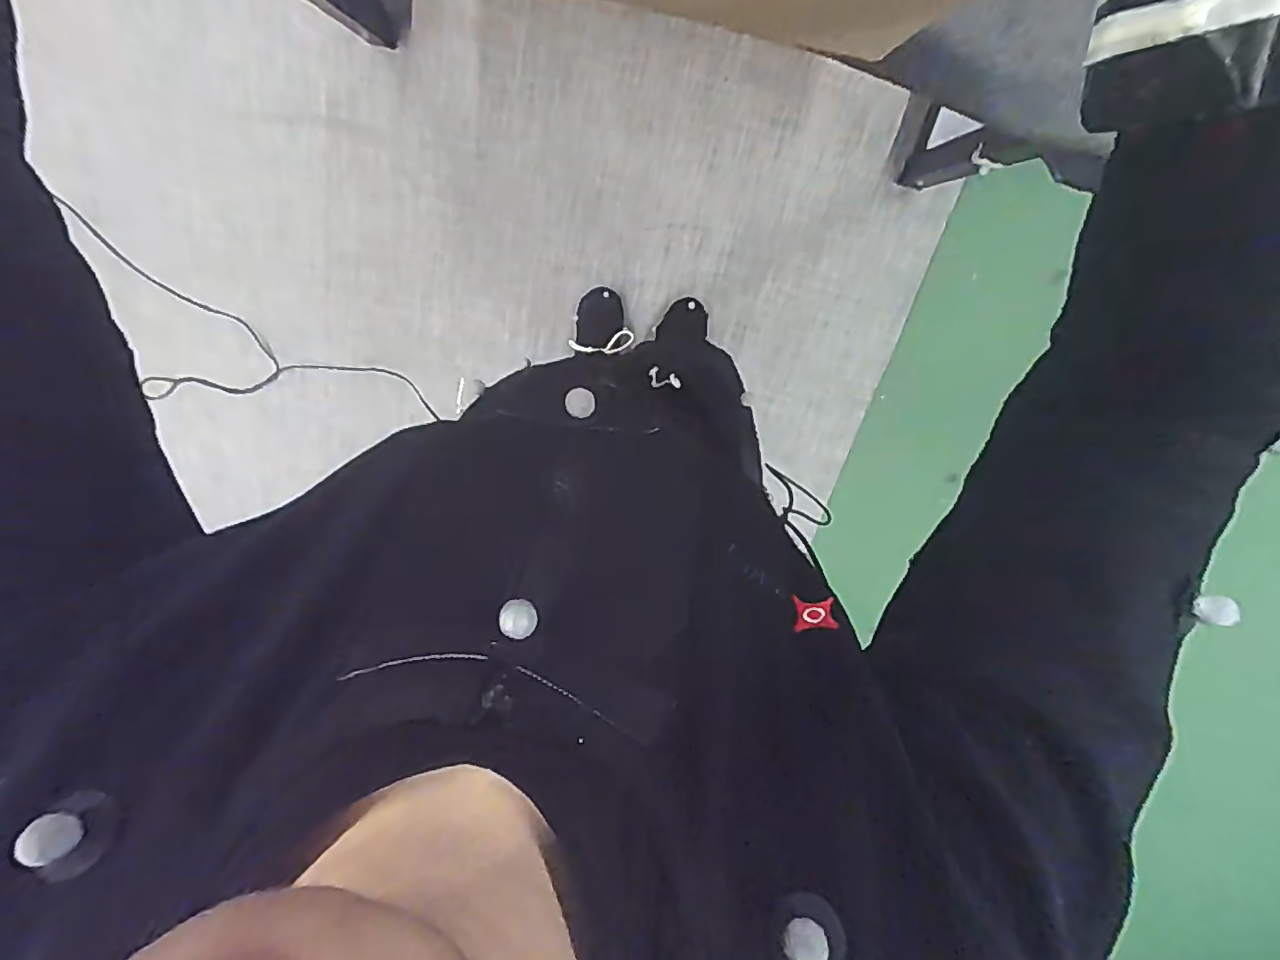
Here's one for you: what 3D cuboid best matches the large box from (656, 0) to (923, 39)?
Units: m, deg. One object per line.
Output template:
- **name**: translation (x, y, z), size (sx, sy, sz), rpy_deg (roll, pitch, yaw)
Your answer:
- **large box**: translation (0.020, -0.462, 0.243), size (0.408, 0.320, 0.320), rpy_deg (10, 117, -2)
